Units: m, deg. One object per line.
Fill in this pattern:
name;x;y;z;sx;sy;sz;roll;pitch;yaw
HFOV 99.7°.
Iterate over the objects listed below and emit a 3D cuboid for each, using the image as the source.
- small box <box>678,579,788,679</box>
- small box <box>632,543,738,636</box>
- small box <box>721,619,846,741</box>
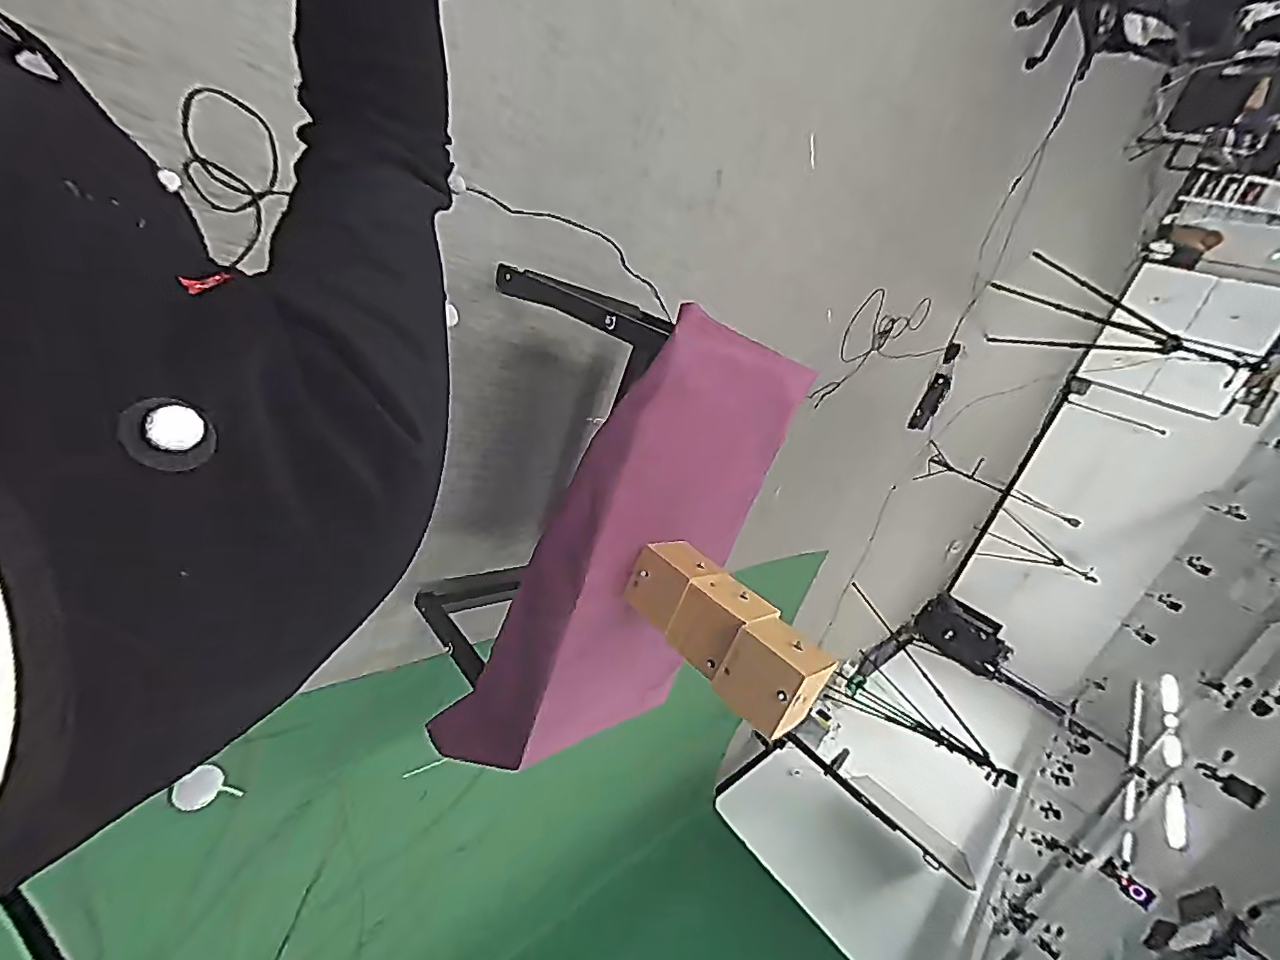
small box;0.218;0.351;1.297;0.168;0.176;0.179;3;114;-48
small box;0.113;0.273;1.392;0.179;0.176;0.168;5;112;-48
small box;0.311;0.424;1.181;0.179;0.176;0.168;6;112;-50
